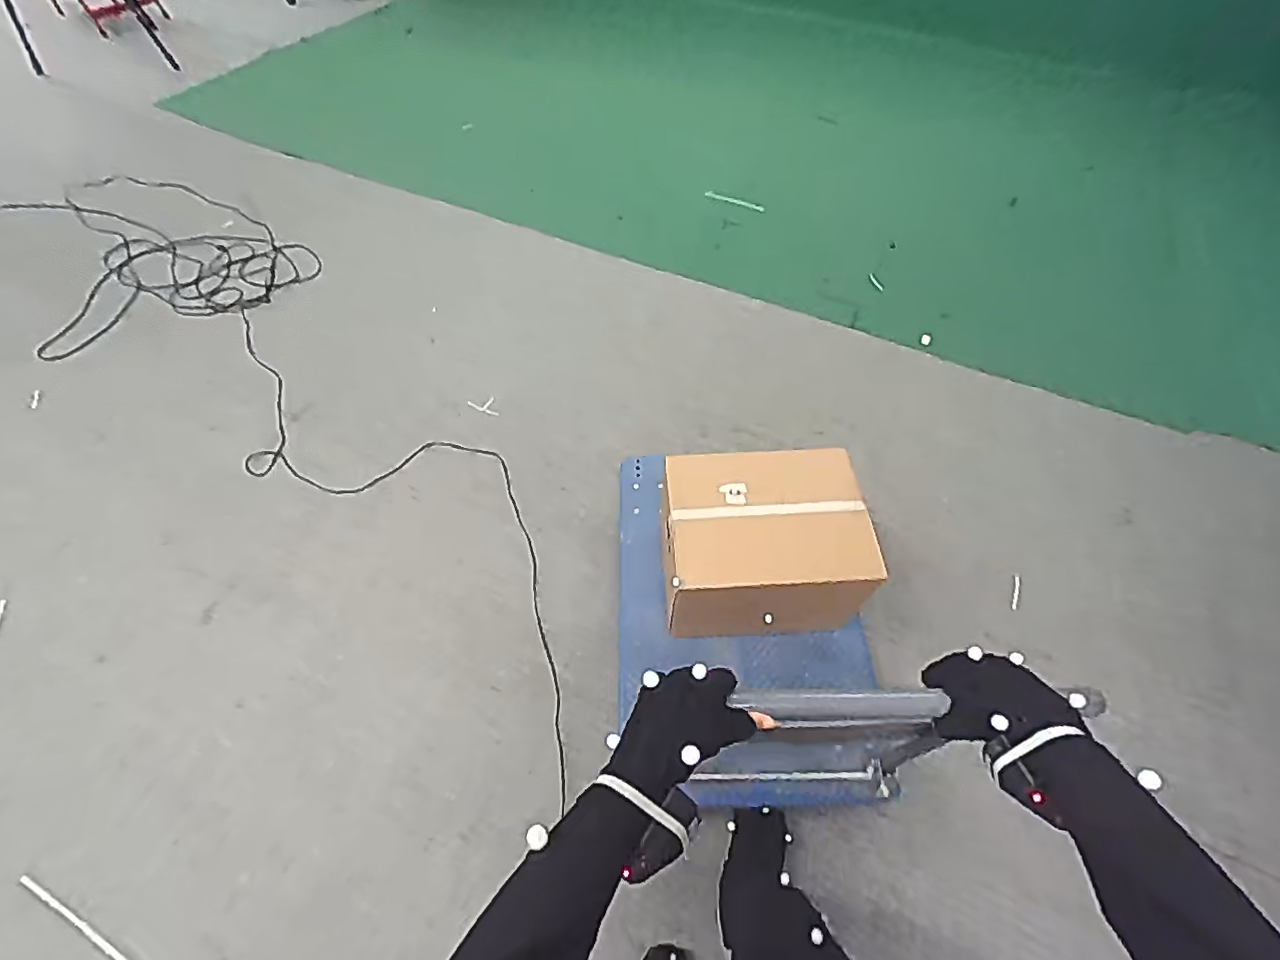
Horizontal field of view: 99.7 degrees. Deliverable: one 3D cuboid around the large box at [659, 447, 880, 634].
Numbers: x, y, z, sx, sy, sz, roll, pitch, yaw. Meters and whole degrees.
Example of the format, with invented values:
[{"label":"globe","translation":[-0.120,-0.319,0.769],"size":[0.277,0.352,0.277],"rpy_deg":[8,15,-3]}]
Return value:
[{"label":"large box","translation":[0.259,0.148,1.241],"size":[0.408,0.320,0.320],"rpy_deg":[-3,56,-2]}]
